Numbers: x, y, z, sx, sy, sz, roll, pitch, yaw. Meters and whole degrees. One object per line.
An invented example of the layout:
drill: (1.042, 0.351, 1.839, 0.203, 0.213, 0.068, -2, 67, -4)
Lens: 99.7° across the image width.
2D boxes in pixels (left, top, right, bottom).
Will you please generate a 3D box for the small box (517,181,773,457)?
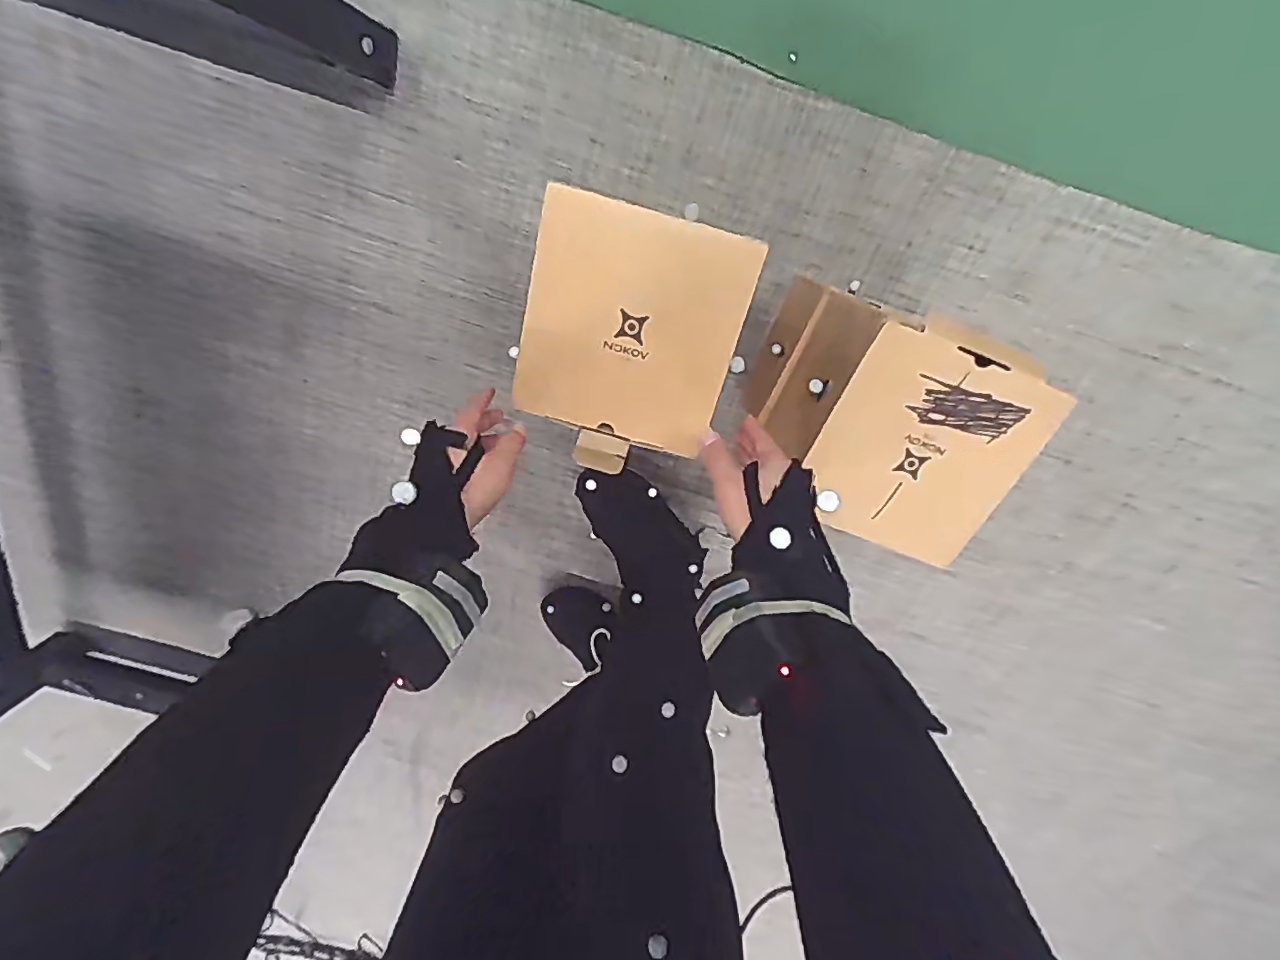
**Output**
small box: (0.002, -0.148, 0.492, 0.168, 0.176, 0.179, 15, 115, -2)

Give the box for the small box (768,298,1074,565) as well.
small box: (0.235, -0.057, 0.514, 0.168, 0.176, 0.179, 21, 115, -4)

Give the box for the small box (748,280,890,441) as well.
small box: (0.242, -0.129, 0.662, 0.168, 0.176, 0.179, 21, 116, -4)
